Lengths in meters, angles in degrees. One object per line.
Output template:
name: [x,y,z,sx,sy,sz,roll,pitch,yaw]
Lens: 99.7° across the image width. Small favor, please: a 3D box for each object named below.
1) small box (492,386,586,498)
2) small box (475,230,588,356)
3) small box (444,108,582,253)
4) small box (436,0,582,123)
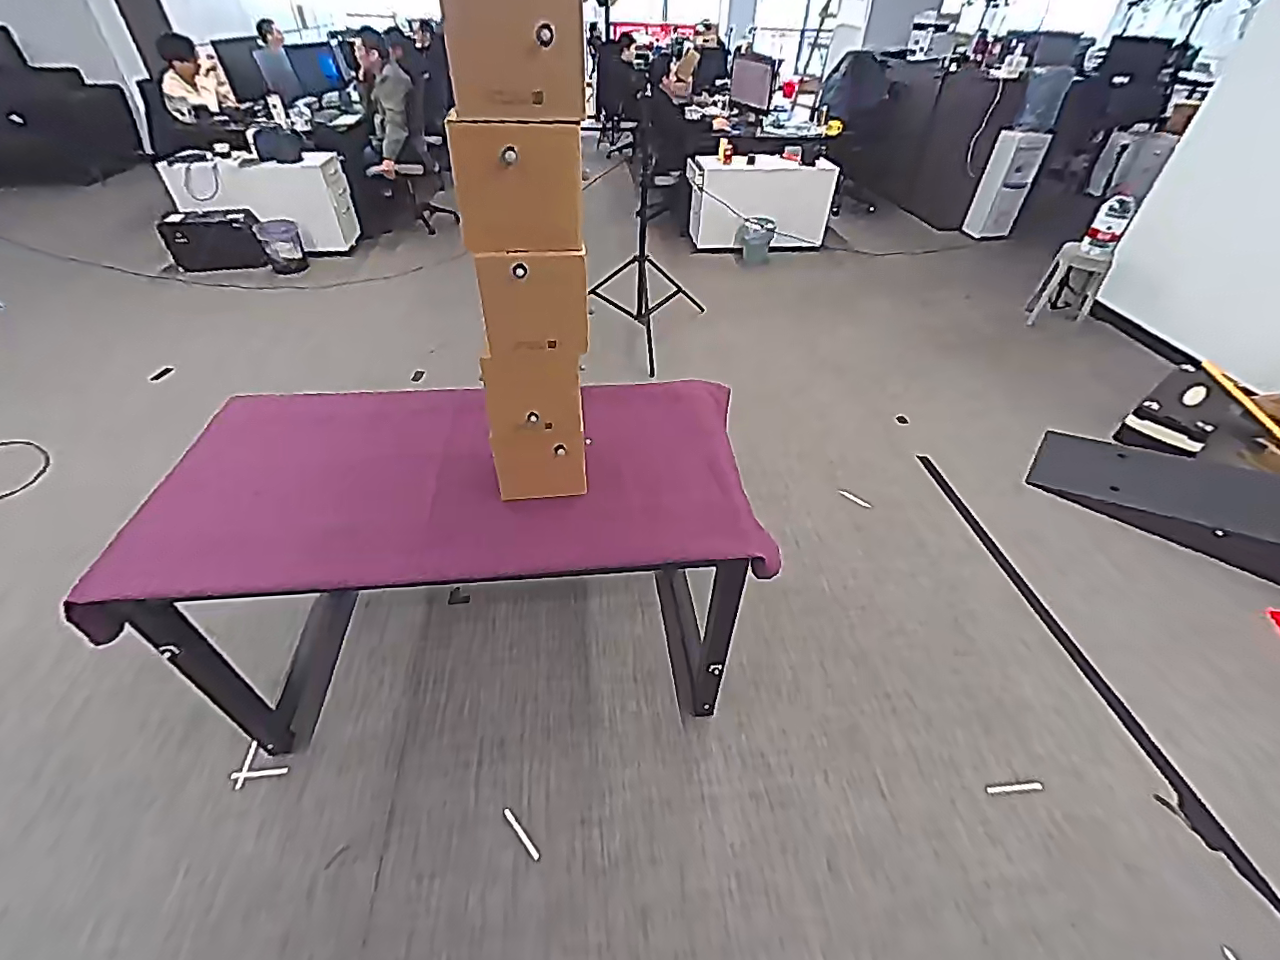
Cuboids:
small box: [-0.203,-0.079,1.128,0.179,0.176,0.168,-4,41,-6]
small box: [-0.175,-0.325,0.913,0.168,0.176,0.179,-4,42,-7]
small box: [-0.179,-0.454,0.813,0.179,0.176,0.168,-5,42,-7]
small box: [-0.166,-0.578,0.709,0.168,0.176,0.179,-4,41,-9]
